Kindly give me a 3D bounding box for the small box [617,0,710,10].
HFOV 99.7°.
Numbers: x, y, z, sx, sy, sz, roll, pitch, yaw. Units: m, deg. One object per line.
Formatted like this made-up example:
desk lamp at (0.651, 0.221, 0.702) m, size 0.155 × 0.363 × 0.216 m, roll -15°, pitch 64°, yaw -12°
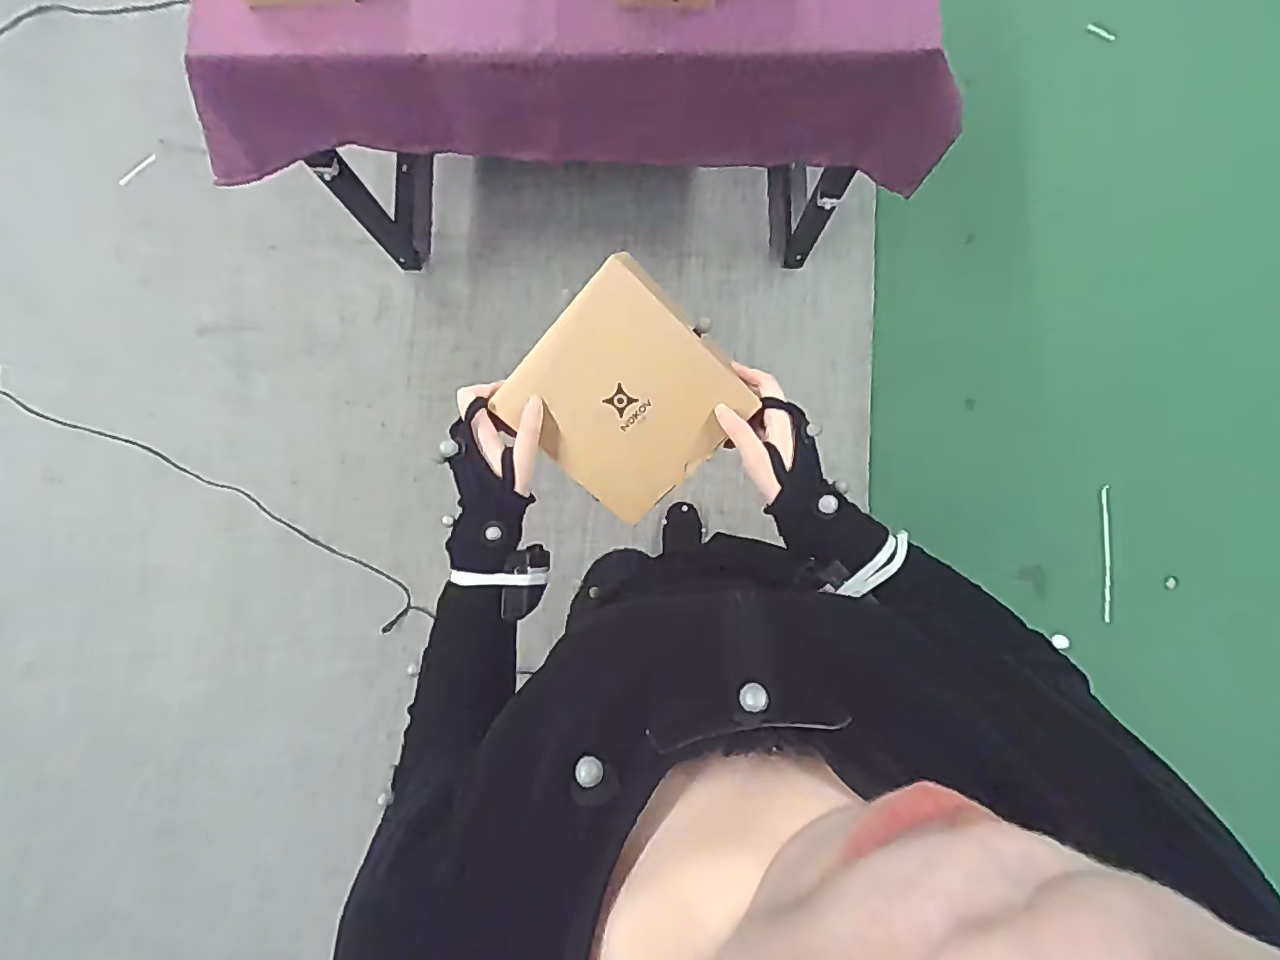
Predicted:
small box at (0.035, -0.847, 0.789) m, size 0.168 × 0.176 × 0.179 m, roll 3°, pitch 85°, yaw 1°
